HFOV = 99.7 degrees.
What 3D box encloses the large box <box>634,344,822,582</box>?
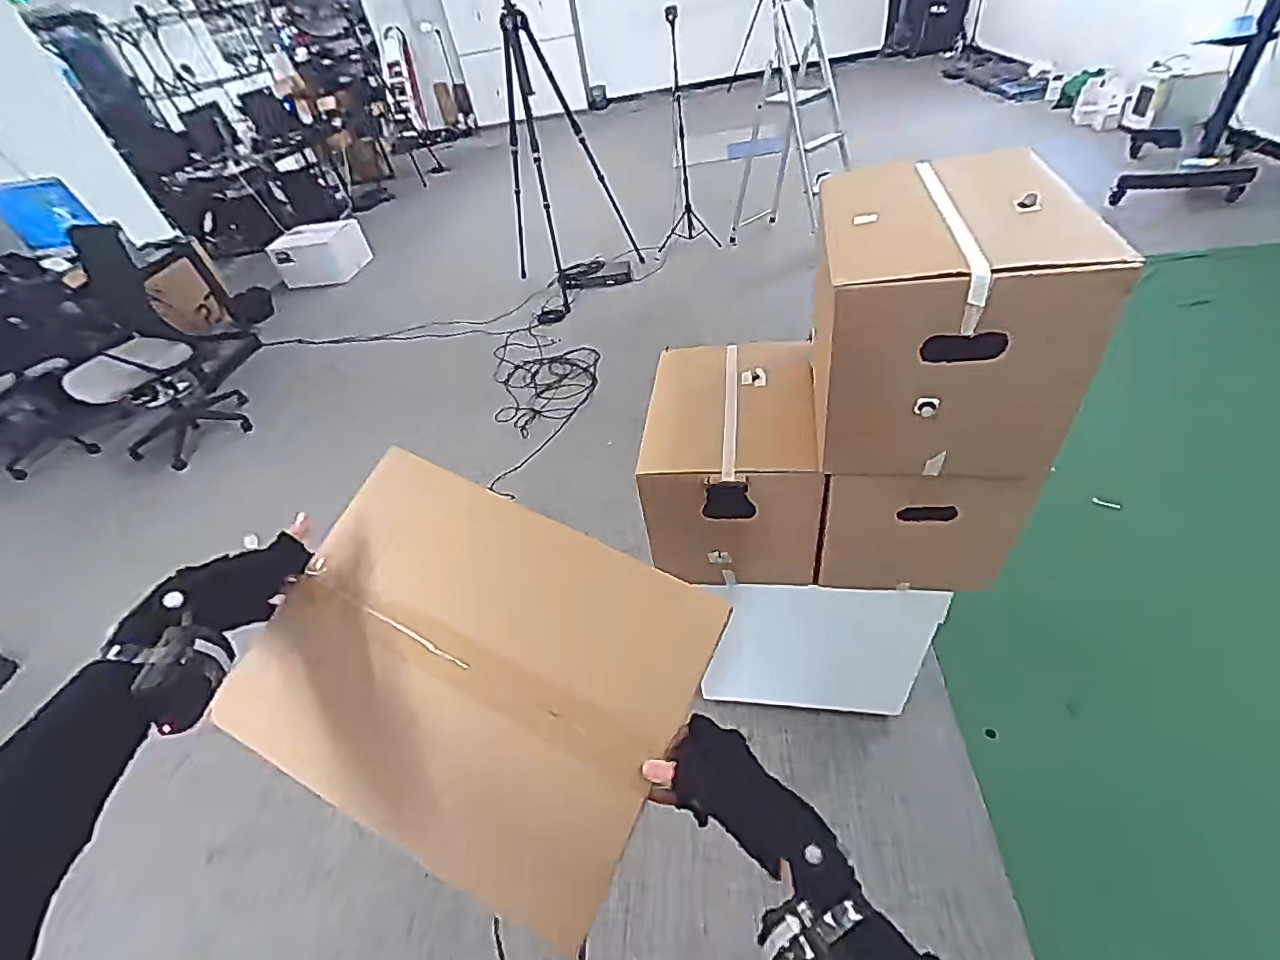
[{"bbox_3d":[0.188,-0.038,1.122,0.320,0.320,0.408,-1,42,12],"label":"large box"}]
